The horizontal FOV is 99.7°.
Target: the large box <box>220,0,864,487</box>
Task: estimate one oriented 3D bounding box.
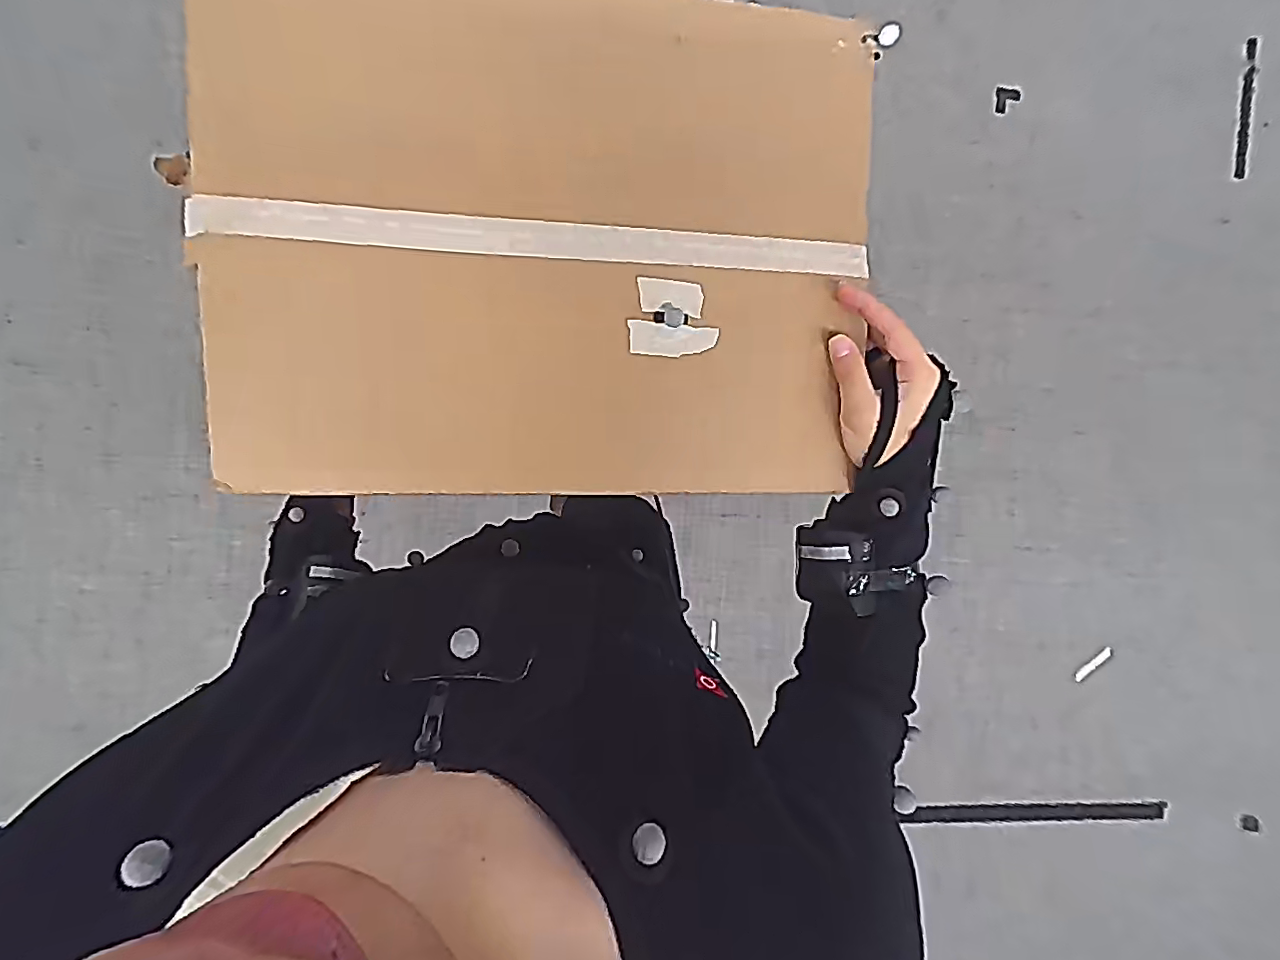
[{"bbox_3d":[-0.069,-0.164,0.492,0.408,0.320,0.320,0,95,-11],"label":"large box"}]
